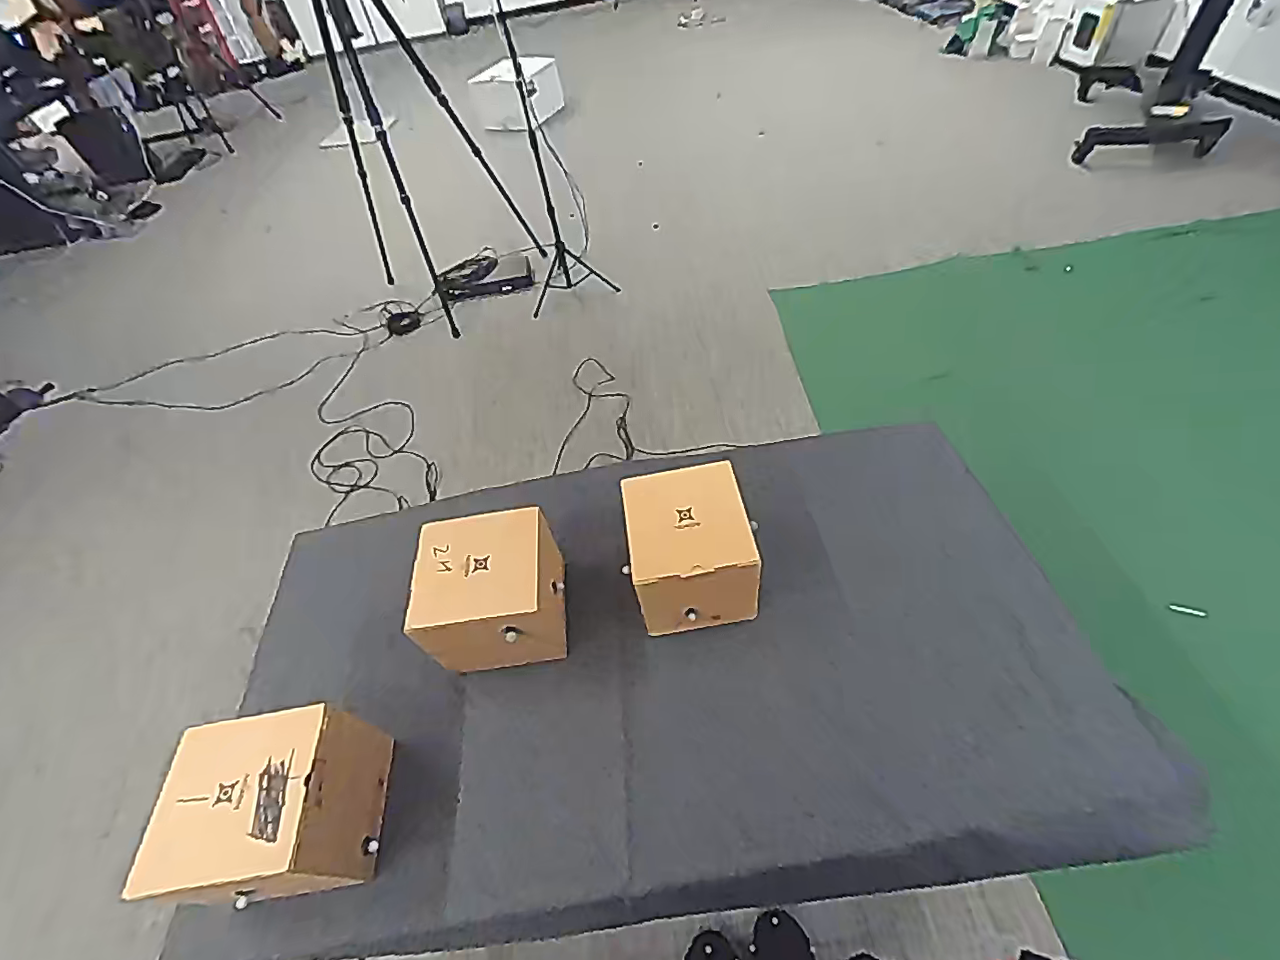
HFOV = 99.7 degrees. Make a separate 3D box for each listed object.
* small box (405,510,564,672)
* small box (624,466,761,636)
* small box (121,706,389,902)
[{"bbox_3d":[-0.211,0.167,0.793,0.179,0.176,0.168,-8,51,2],"label":"small box"},{"bbox_3d":[0.073,0.107,0.802,0.168,0.176,0.179,-10,51,1],"label":"small box"},{"bbox_3d":[-0.430,0.389,0.646,0.179,0.176,0.168,-10,50,1],"label":"small box"}]
